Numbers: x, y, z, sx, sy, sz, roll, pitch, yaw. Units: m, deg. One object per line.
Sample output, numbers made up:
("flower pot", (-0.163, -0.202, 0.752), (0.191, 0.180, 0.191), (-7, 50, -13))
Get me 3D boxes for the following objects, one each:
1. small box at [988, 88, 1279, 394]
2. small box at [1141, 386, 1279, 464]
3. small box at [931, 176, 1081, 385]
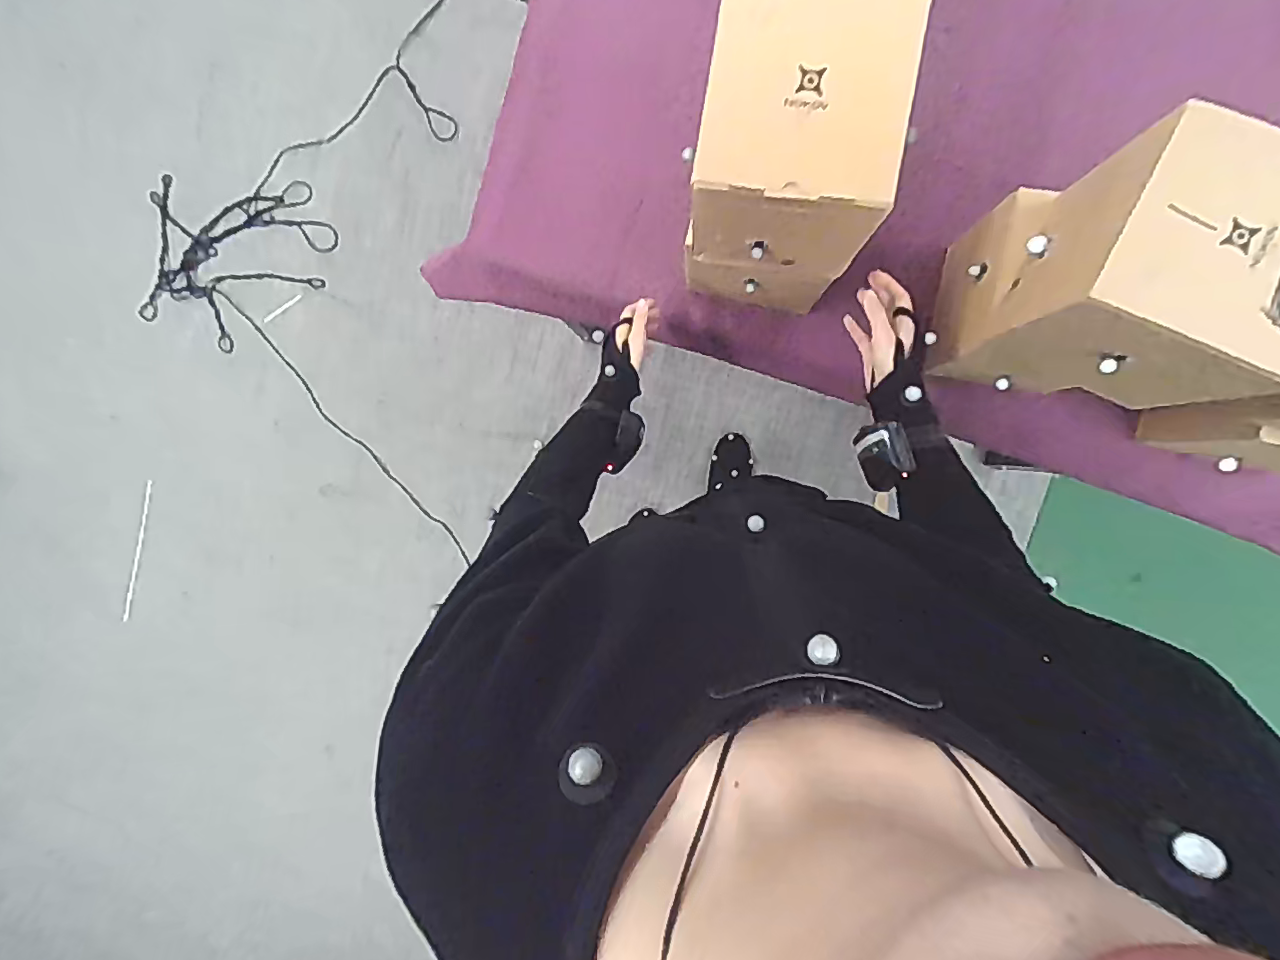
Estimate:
("small box", (0.466, -0.187, 0.481), (0.179, 0.176, 0.168), (26, 95, 5))
("small box", (0.751, -0.111, 0.618), (0.179, 0.176, 0.168), (14, 95, 6))
("small box", (0.476, -0.222, 0.644), (0.168, 0.176, 0.179), (11, 94, 6))
